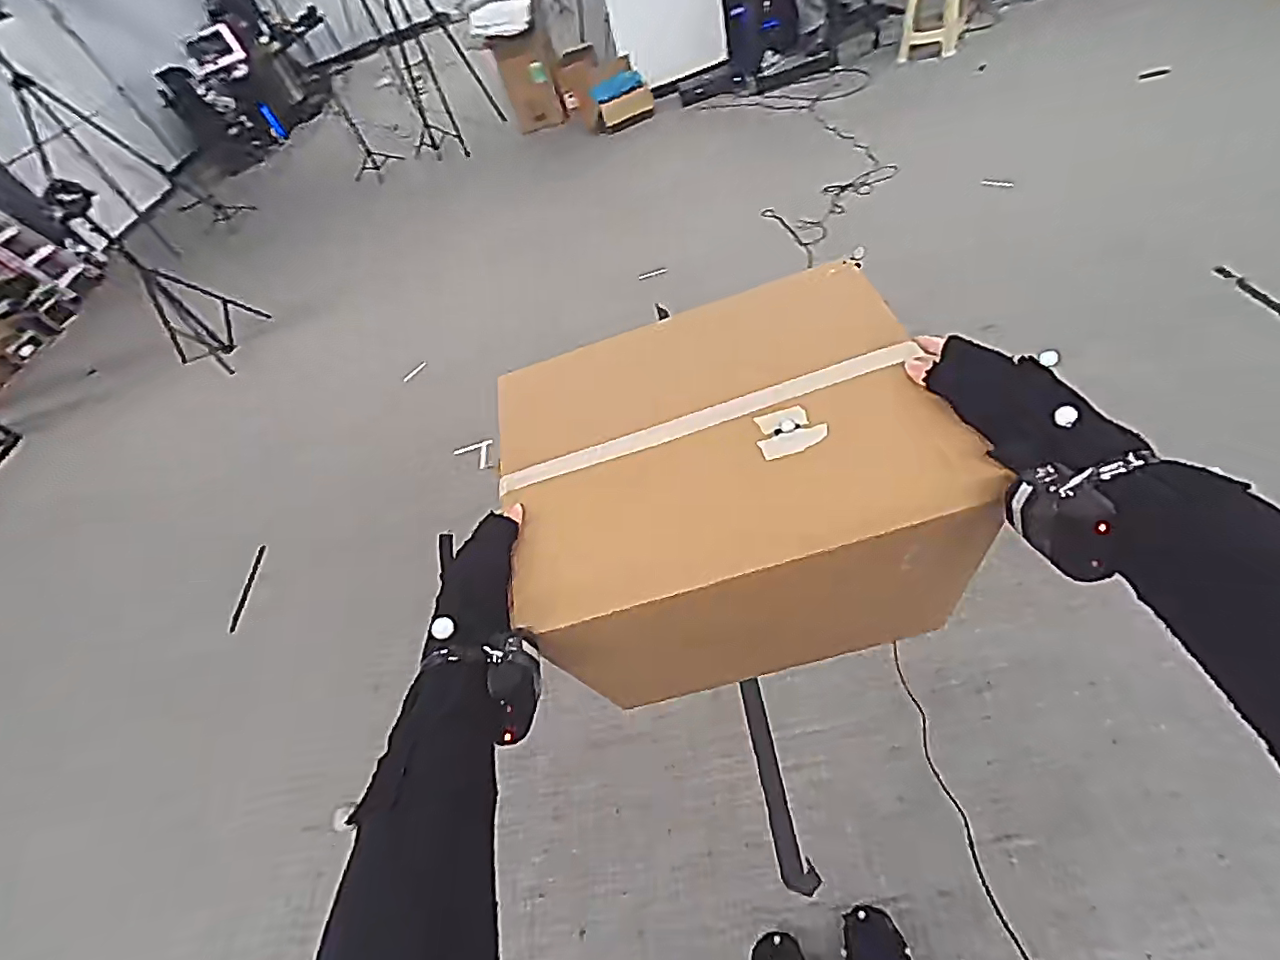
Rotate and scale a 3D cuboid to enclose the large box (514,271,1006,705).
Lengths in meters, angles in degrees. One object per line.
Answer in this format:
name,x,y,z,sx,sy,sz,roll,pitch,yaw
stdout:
large box,0.105,0.030,0.639,0.408,0.320,0.320,-17,54,6
